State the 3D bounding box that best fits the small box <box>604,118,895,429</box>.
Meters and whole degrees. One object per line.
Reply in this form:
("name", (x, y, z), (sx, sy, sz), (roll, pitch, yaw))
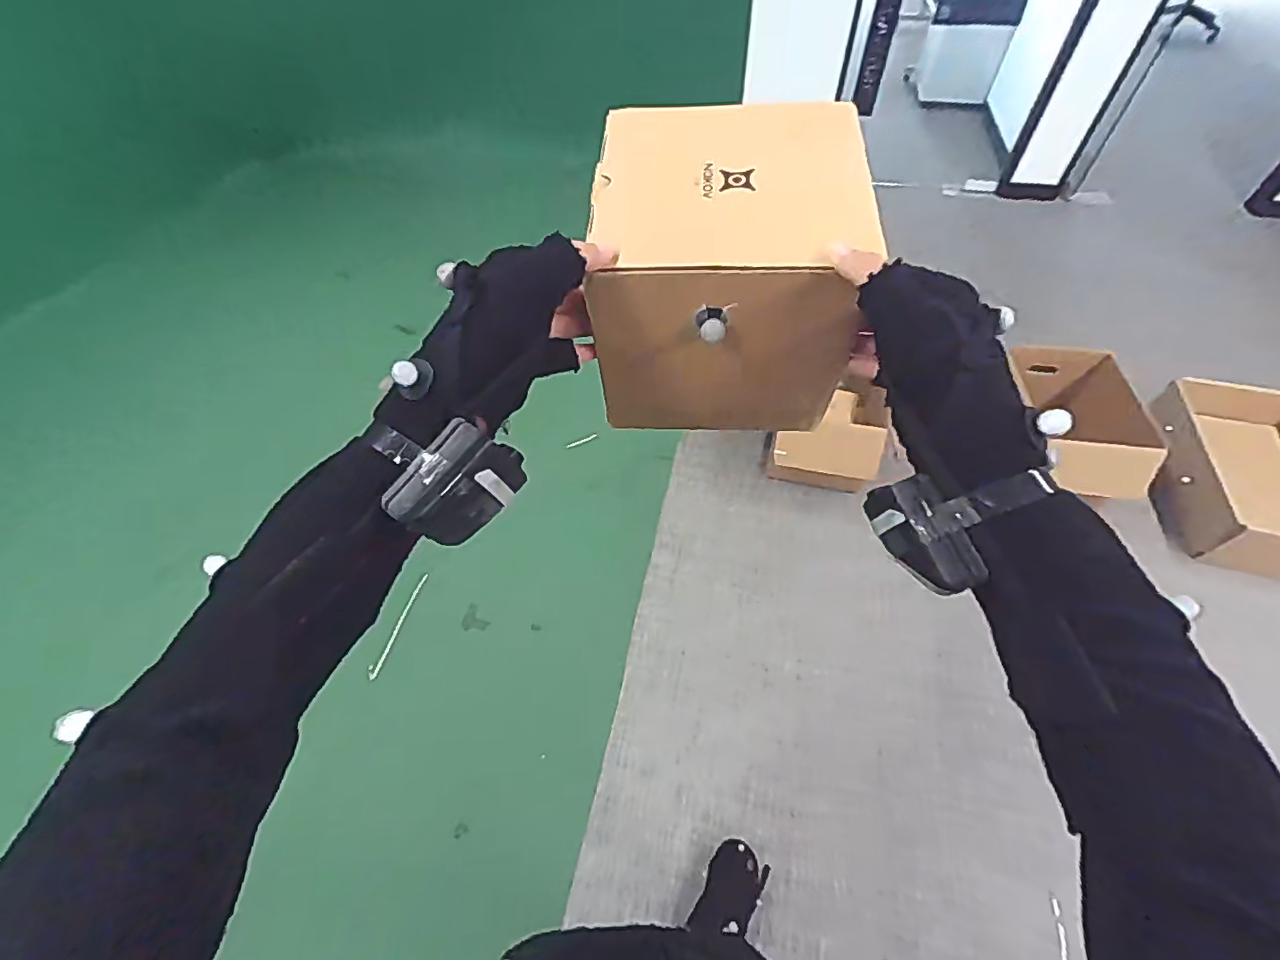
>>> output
("small box", (0.074, -0.153, 0.430), (0.179, 0.176, 0.168), (2, 61, 5))
